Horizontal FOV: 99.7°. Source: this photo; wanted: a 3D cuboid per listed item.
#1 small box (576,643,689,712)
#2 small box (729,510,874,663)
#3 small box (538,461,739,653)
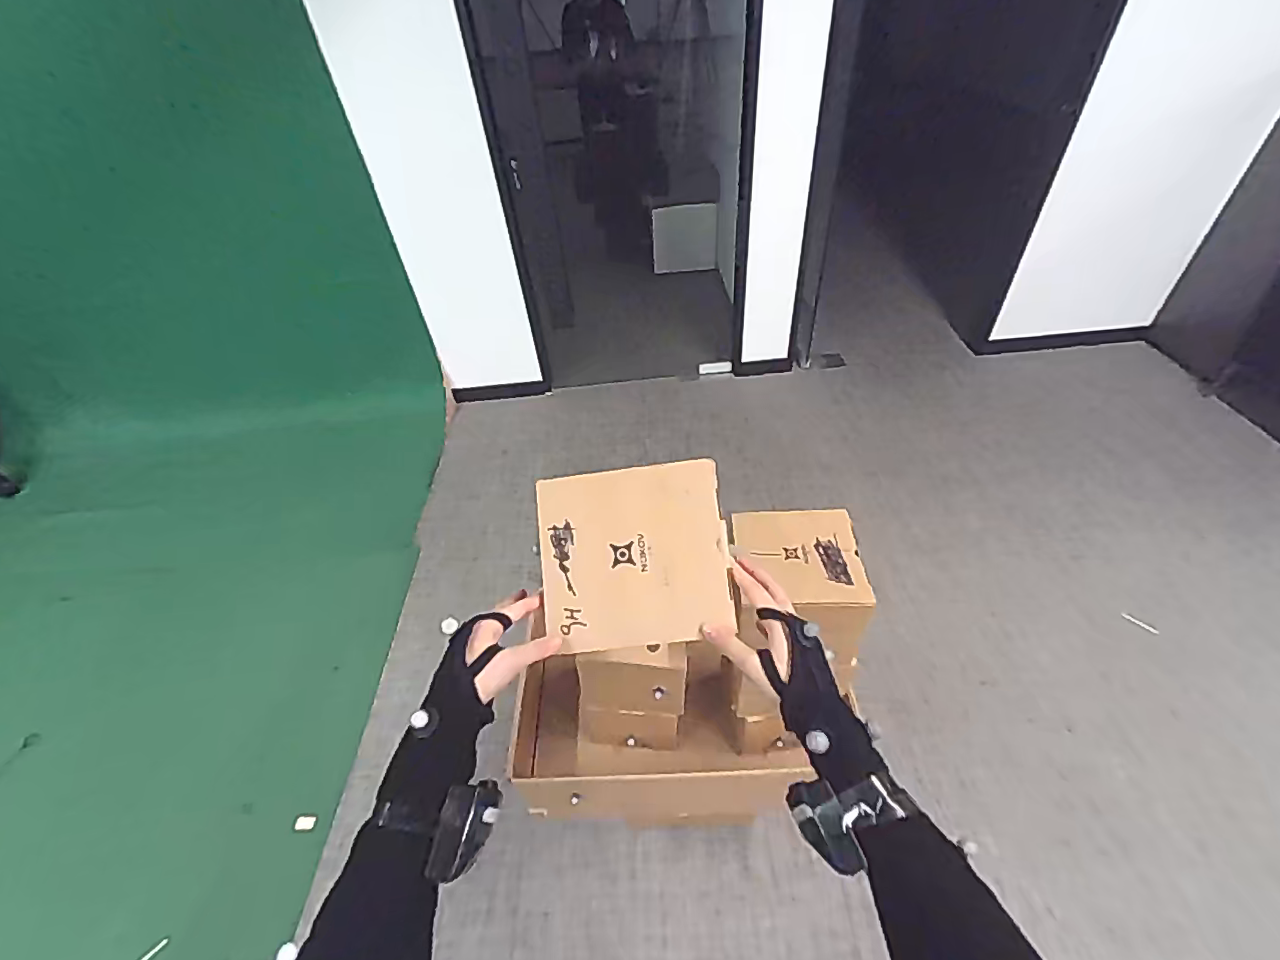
[{"bbox_3d":[-0.005,0.287,0.945,0.179,0.176,0.168,3,43,5],"label":"small box"},{"bbox_3d":[0.226,0.161,0.814,0.179,0.176,0.168,-2,44,5],"label":"small box"},{"bbox_3d":[0.000,0.085,0.573,0.179,0.176,0.168,-6,76,3],"label":"small box"}]
